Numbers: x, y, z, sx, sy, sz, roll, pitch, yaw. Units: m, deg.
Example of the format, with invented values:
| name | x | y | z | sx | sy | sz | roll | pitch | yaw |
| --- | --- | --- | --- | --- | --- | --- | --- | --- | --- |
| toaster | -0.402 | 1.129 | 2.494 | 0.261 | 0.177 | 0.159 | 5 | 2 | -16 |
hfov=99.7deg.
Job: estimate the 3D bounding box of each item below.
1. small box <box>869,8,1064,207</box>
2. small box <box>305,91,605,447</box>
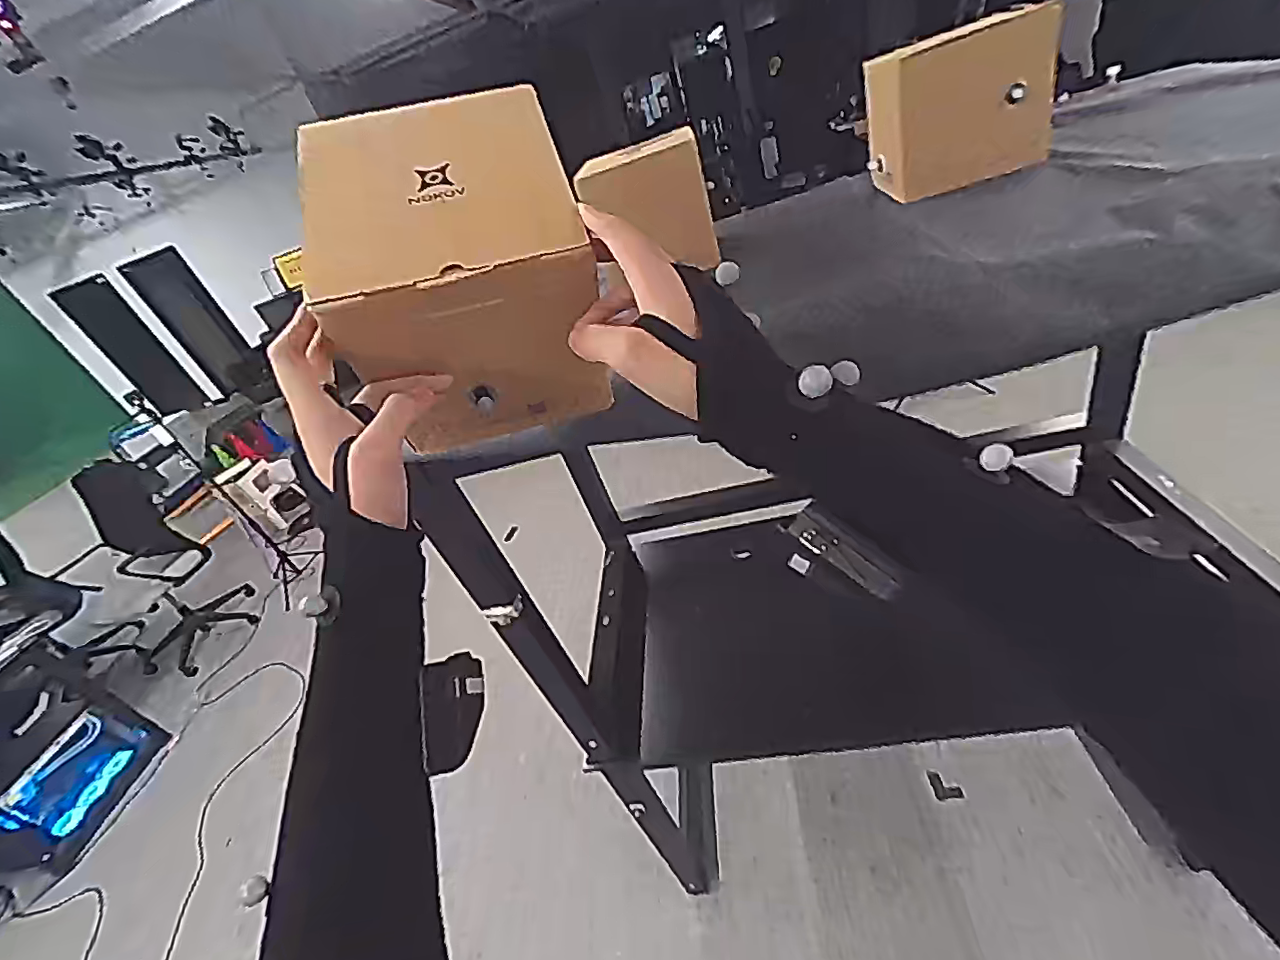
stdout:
| name | x | y | z | sx | sy | sz | roll | pitch | yaw |
| --- | --- | --- | --- | --- | --- | --- | --- | --- | --- |
| small box | 0.422 | -0.494 | 0.730 | 0.179 | 0.176 | 0.168 | -11 | 34 | 14 |
| small box | -0.129 | -0.153 | 0.417 | 0.168 | 0.176 | 0.179 | -15 | 65 | -7 |
